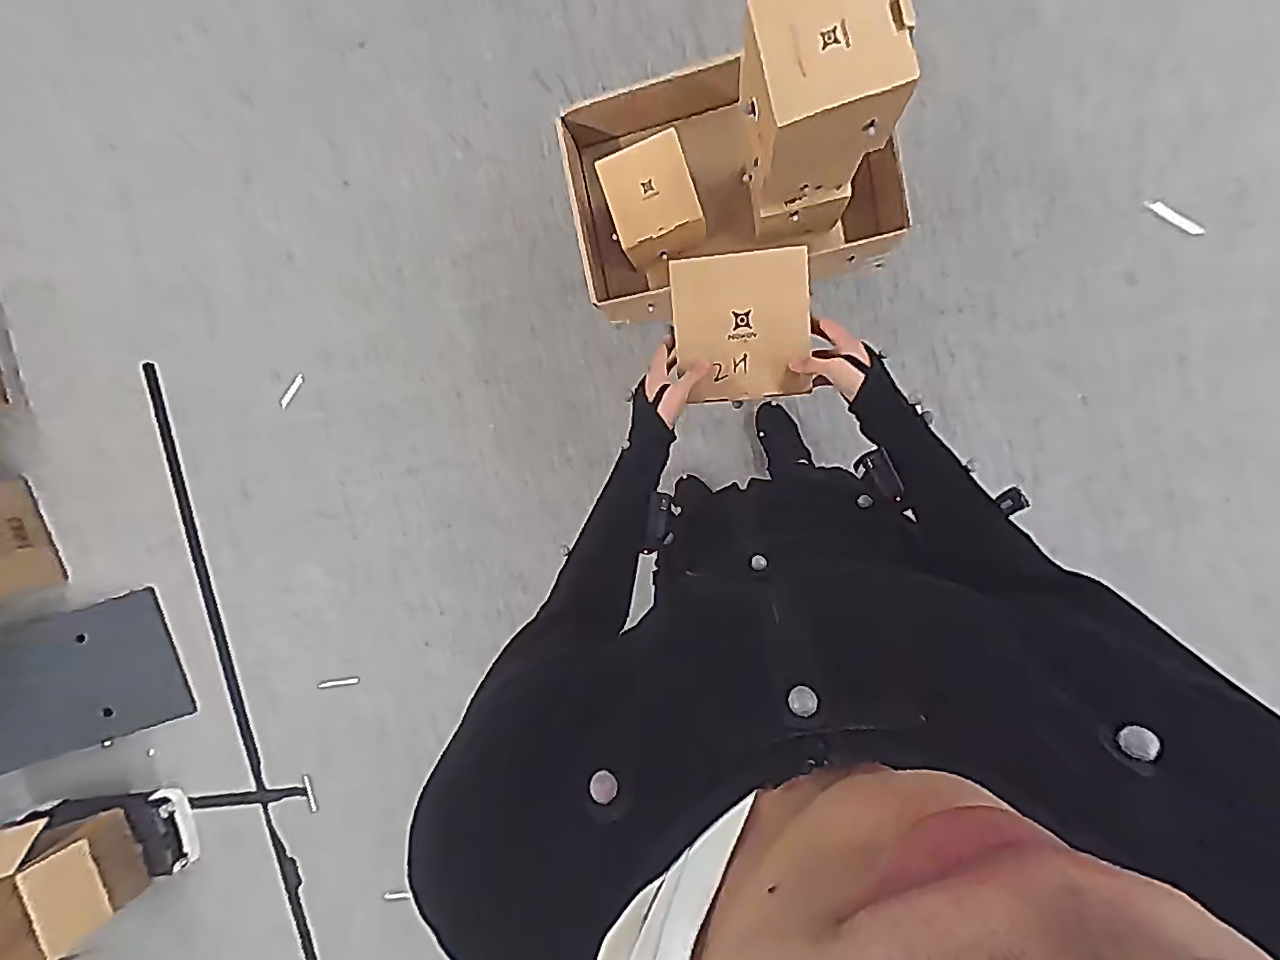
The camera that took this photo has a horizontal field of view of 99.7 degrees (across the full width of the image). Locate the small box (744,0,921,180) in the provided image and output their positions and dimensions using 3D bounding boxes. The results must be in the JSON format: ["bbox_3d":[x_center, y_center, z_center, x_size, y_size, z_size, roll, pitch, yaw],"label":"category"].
[{"bbox_3d":[0.246,-0.545,0.732,0.179,0.176,0.168,-14,93,10],"label":"small box"}]

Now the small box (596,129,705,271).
[{"bbox_3d":[0.027,-0.556,1.099,0.168,0.176,0.179,-19,93,10],"label":"small box"}]

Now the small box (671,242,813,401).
[{"bbox_3d":[0.129,-0.201,0.730,0.168,0.176,0.179,-5,100,6],"label":"small box"}]
